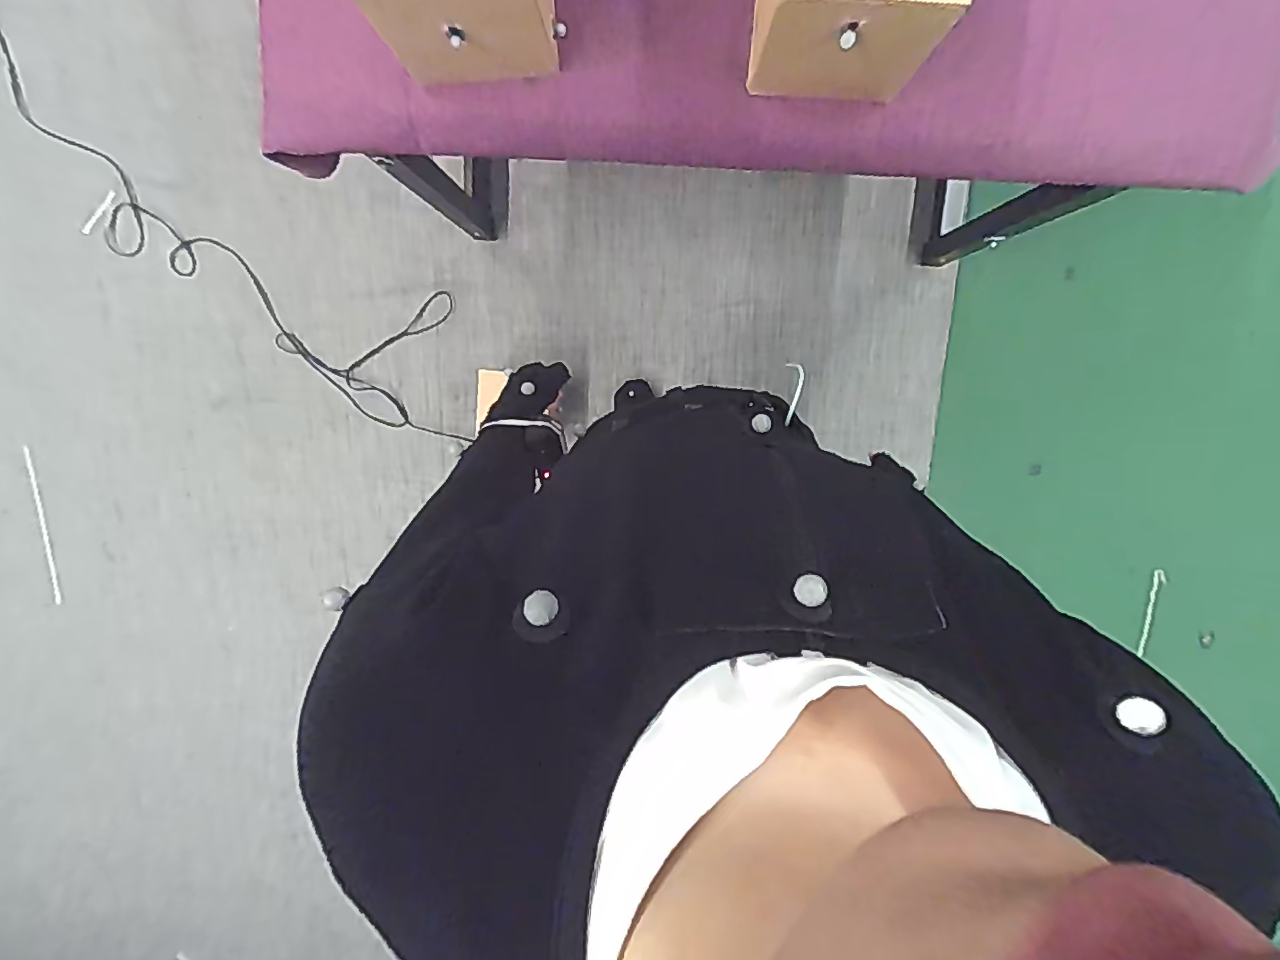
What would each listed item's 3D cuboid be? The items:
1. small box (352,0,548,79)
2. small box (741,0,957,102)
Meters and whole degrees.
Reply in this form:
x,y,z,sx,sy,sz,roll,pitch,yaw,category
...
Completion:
x,y,z,sx,sy,sz,roll,pitch,yaw,category
-0.196,-0.556,0.564,0.179,0.176,0.168,-3,100,2,small box
0.214,-0.529,0.566,0.179,0.176,0.168,5,100,1,small box
